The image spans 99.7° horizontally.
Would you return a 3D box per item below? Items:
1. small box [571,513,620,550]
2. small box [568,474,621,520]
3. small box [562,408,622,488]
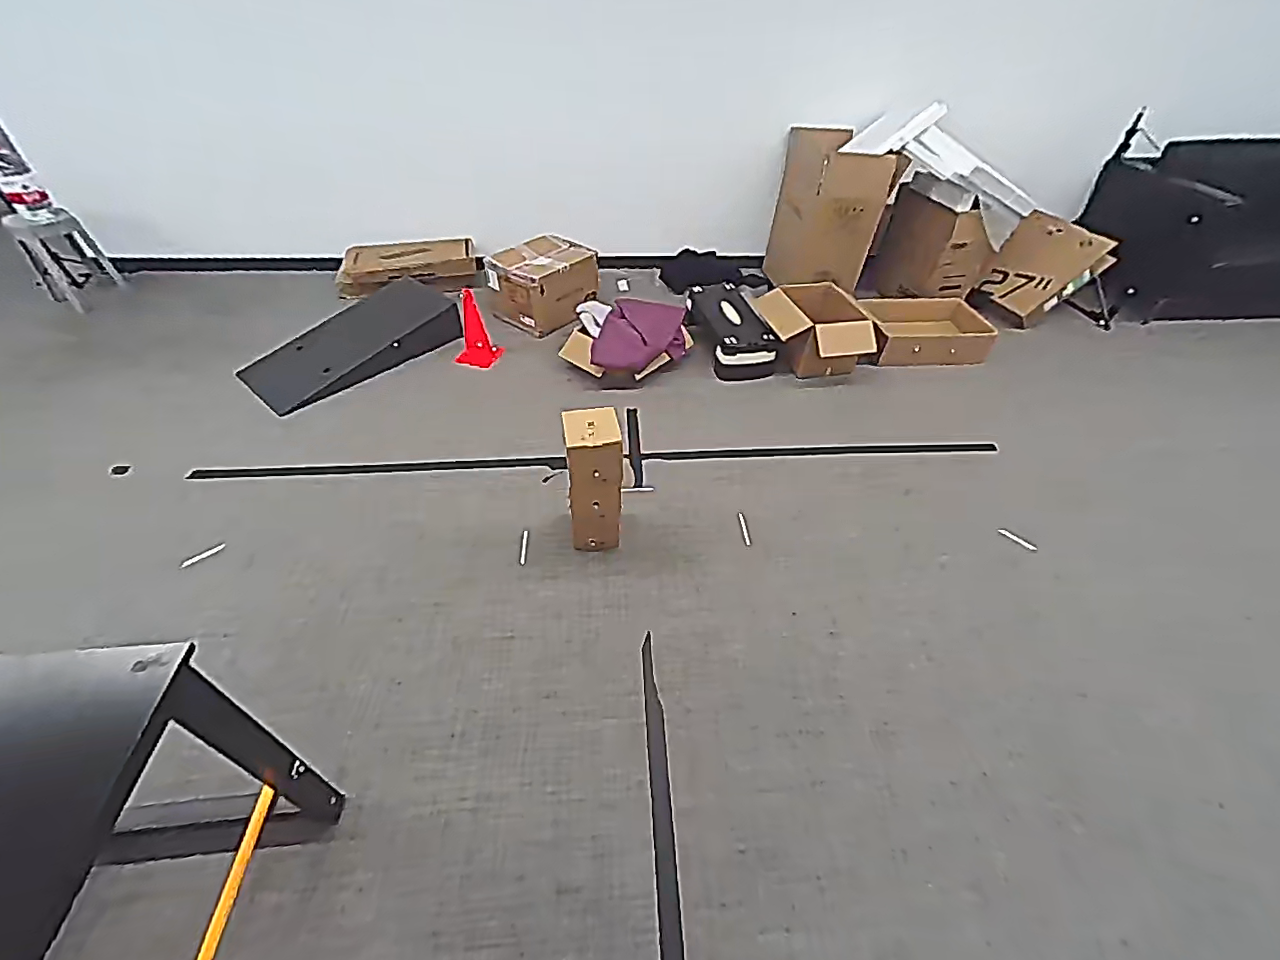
[{"bbox_3d":[-0.160,0.126,1.917,0.168,0.176,0.179,-4,45,-5],"label":"small box"},{"bbox_3d":[-0.150,0.020,1.792,0.168,0.176,0.179,-4,45,-5],"label":"small box"},{"bbox_3d":[-0.148,-0.099,1.676,0.168,0.176,0.179,-8,45,-8],"label":"small box"}]
